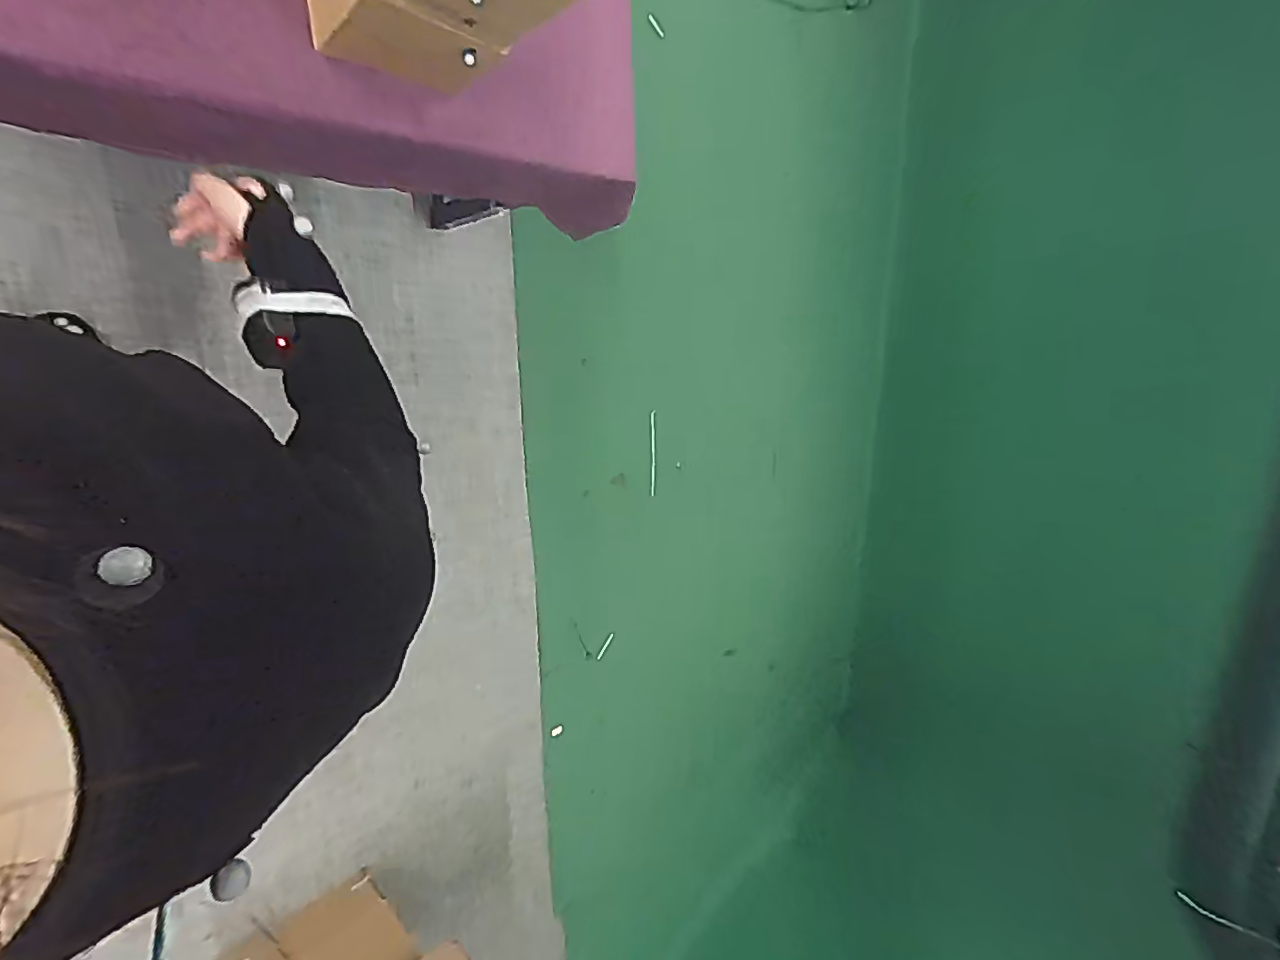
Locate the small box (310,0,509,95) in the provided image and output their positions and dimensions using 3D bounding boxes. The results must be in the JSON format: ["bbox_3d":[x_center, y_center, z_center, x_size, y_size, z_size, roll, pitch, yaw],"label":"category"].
[{"bbox_3d":[-0.281,-0.595,0.642,0.179,0.176,0.168,-15,109,-45],"label":"small box"}]

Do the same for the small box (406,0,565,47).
[{"bbox_3d":[-0.162,-0.576,0.529,0.168,0.176,0.179,-12,107,-46],"label":"small box"}]
